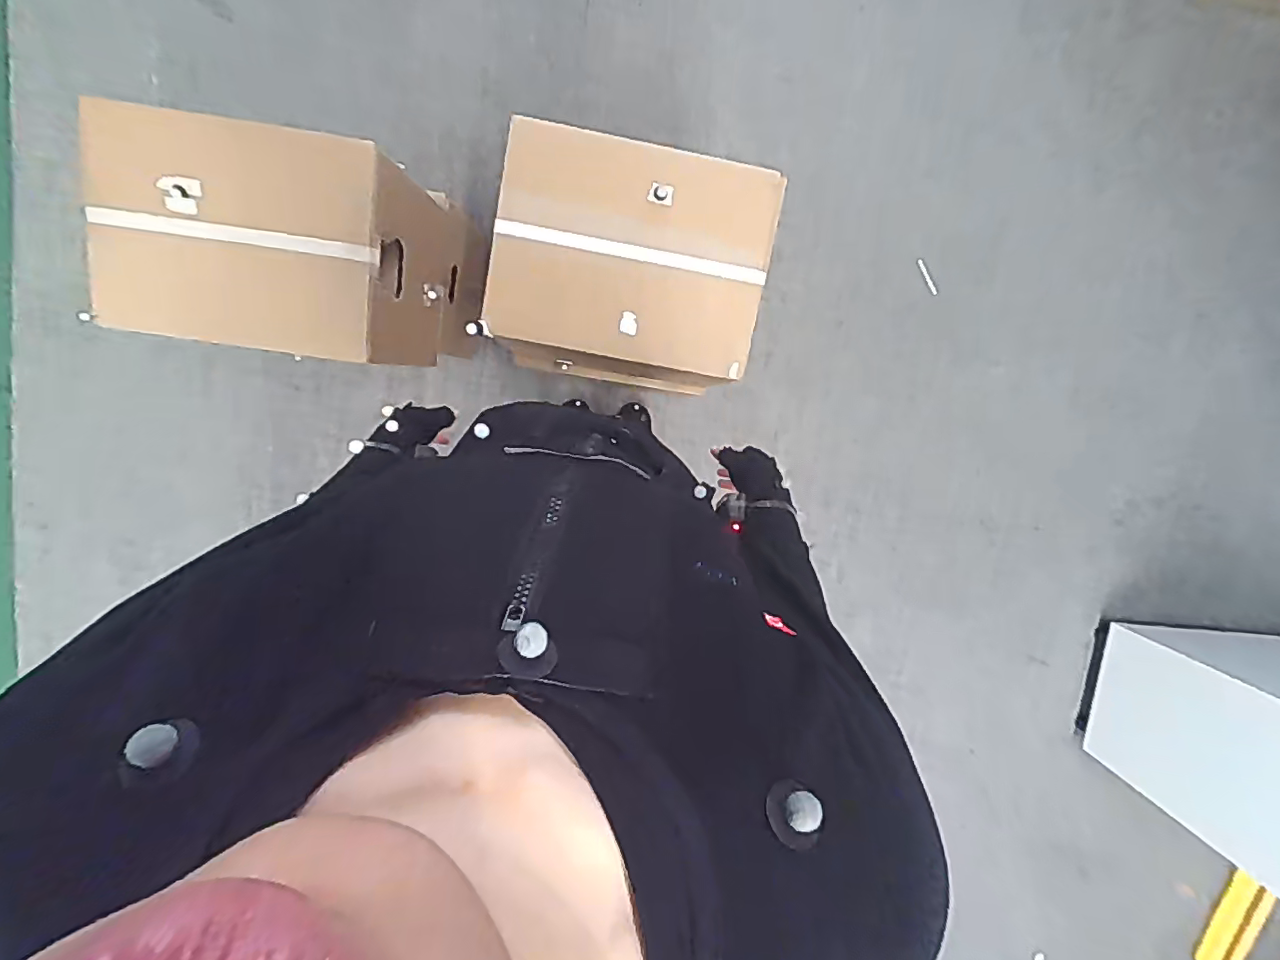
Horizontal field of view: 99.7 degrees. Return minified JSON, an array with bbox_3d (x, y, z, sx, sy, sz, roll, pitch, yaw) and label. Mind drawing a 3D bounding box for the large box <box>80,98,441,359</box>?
[{"bbox_3d":[-0.593,-0.386,0.925,0.408,0.320,0.320,8,101,-2],"label":"large box"}]
